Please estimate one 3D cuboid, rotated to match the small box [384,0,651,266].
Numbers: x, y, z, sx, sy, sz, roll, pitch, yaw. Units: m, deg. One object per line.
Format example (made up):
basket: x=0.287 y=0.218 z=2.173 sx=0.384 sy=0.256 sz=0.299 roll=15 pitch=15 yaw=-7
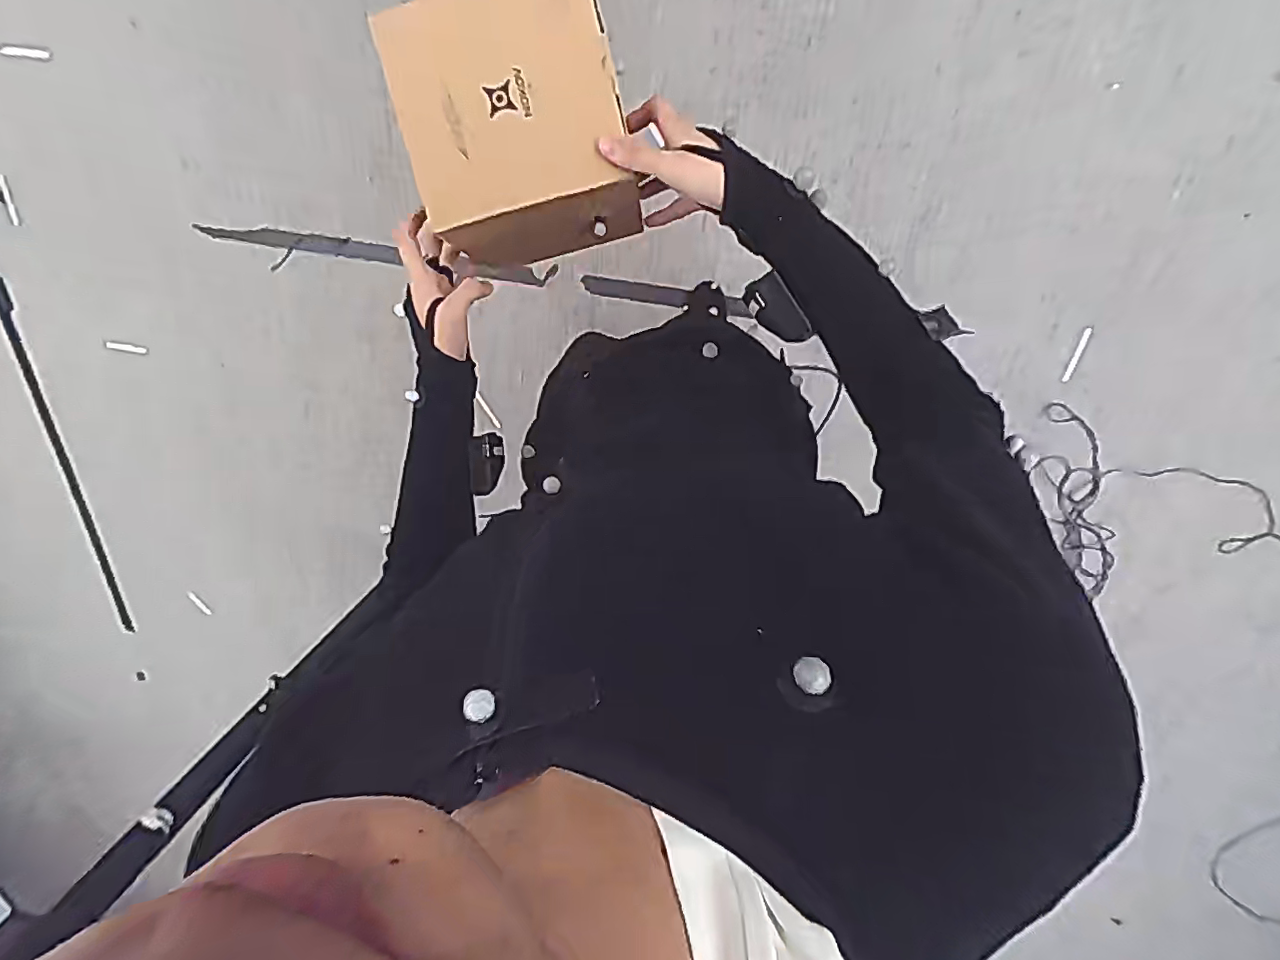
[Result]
small box: x=-0.091 y=-0.313 z=0.497 sx=0.179 sy=0.176 sz=0.168 roll=-13 pitch=100 yaw=5
